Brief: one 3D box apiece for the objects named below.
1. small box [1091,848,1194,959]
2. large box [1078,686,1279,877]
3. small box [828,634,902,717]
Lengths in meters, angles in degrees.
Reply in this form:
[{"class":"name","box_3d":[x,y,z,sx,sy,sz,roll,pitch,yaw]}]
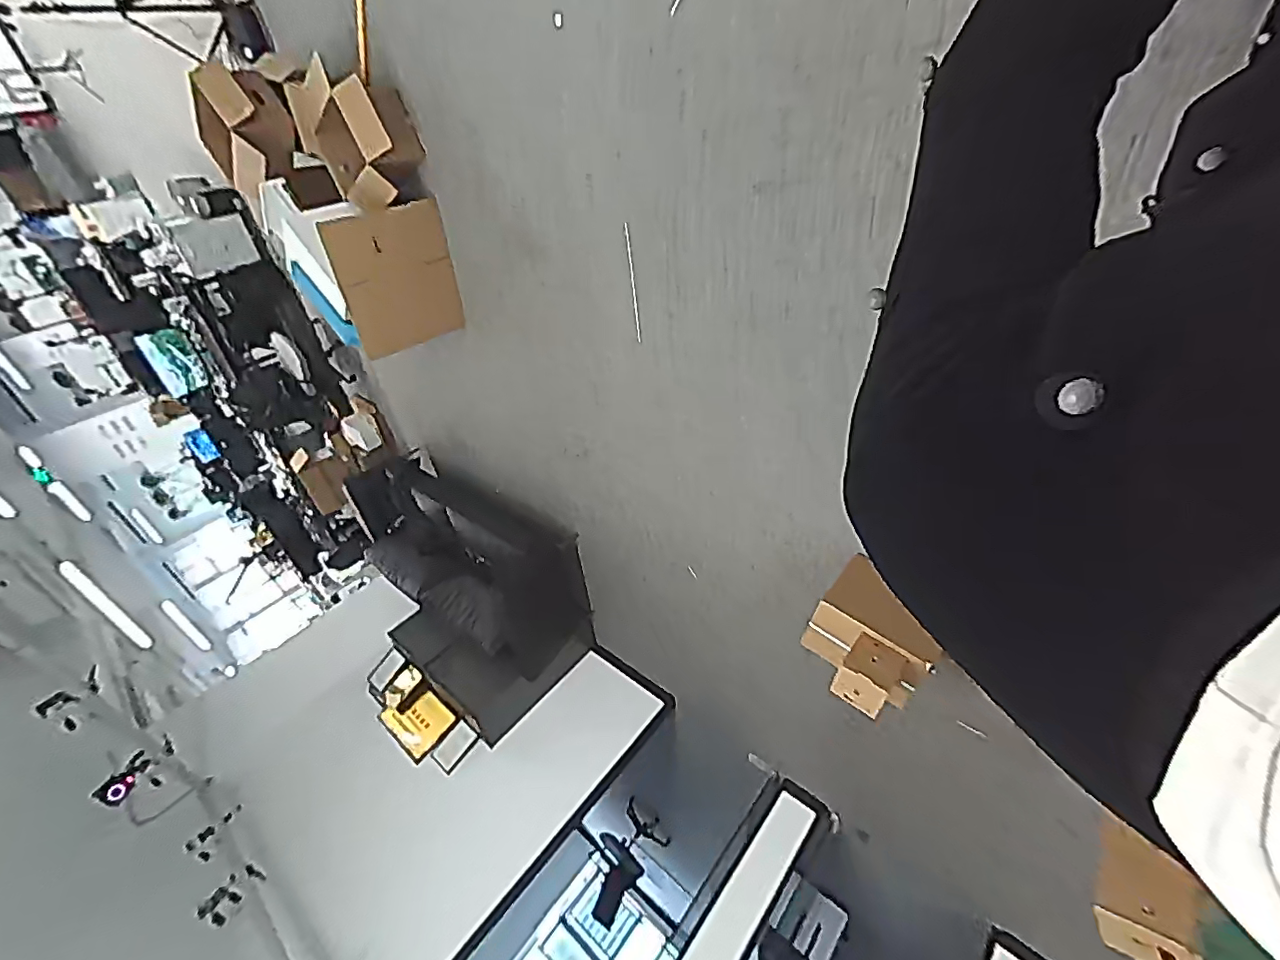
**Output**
[{"class":"small box","box_3d":[1.292,1.098,1.387,0.179,0.176,0.168,-3,118,50]},{"class":"large box","box_3d":[1.575,0.839,1.555,0.408,0.320,0.320,-14,111,52]},{"class":"small box","box_3d":[0.780,0.668,1.868,0.168,0.176,0.179,29,137,30]}]
